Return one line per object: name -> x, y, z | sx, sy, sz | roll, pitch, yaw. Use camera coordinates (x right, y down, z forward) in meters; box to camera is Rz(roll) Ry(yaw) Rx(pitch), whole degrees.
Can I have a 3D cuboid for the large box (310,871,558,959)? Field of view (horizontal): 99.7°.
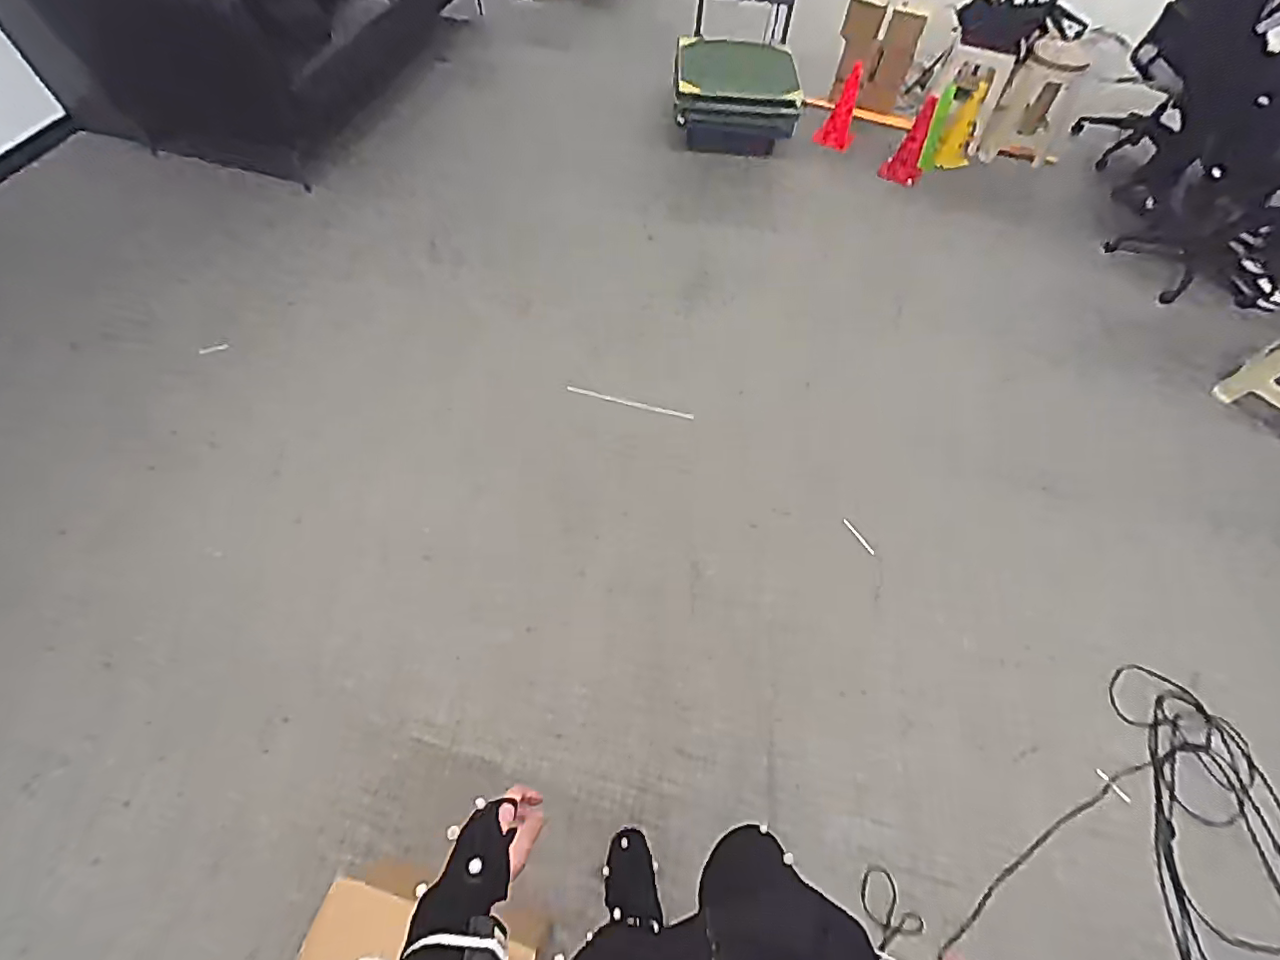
large box -> -0.408, 1.010, 1.042 | 0.408, 0.320, 0.320 | 15, 59, 7
